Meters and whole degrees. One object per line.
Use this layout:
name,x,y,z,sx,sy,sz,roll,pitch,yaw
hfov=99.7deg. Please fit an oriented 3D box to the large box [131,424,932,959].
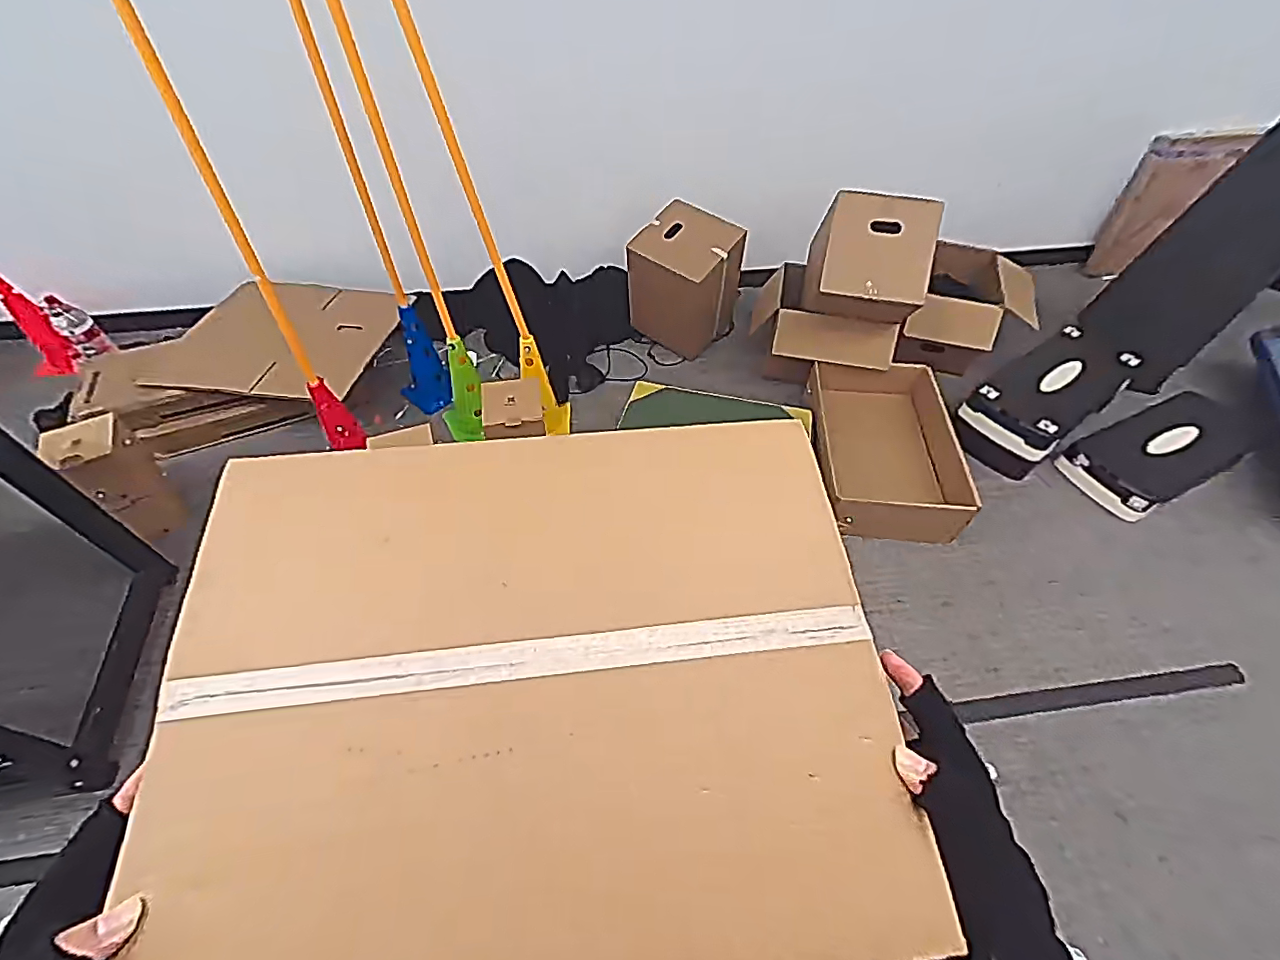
large box,-0.067,0.179,0.461,0.408,0.320,0.320,-5,63,-5
